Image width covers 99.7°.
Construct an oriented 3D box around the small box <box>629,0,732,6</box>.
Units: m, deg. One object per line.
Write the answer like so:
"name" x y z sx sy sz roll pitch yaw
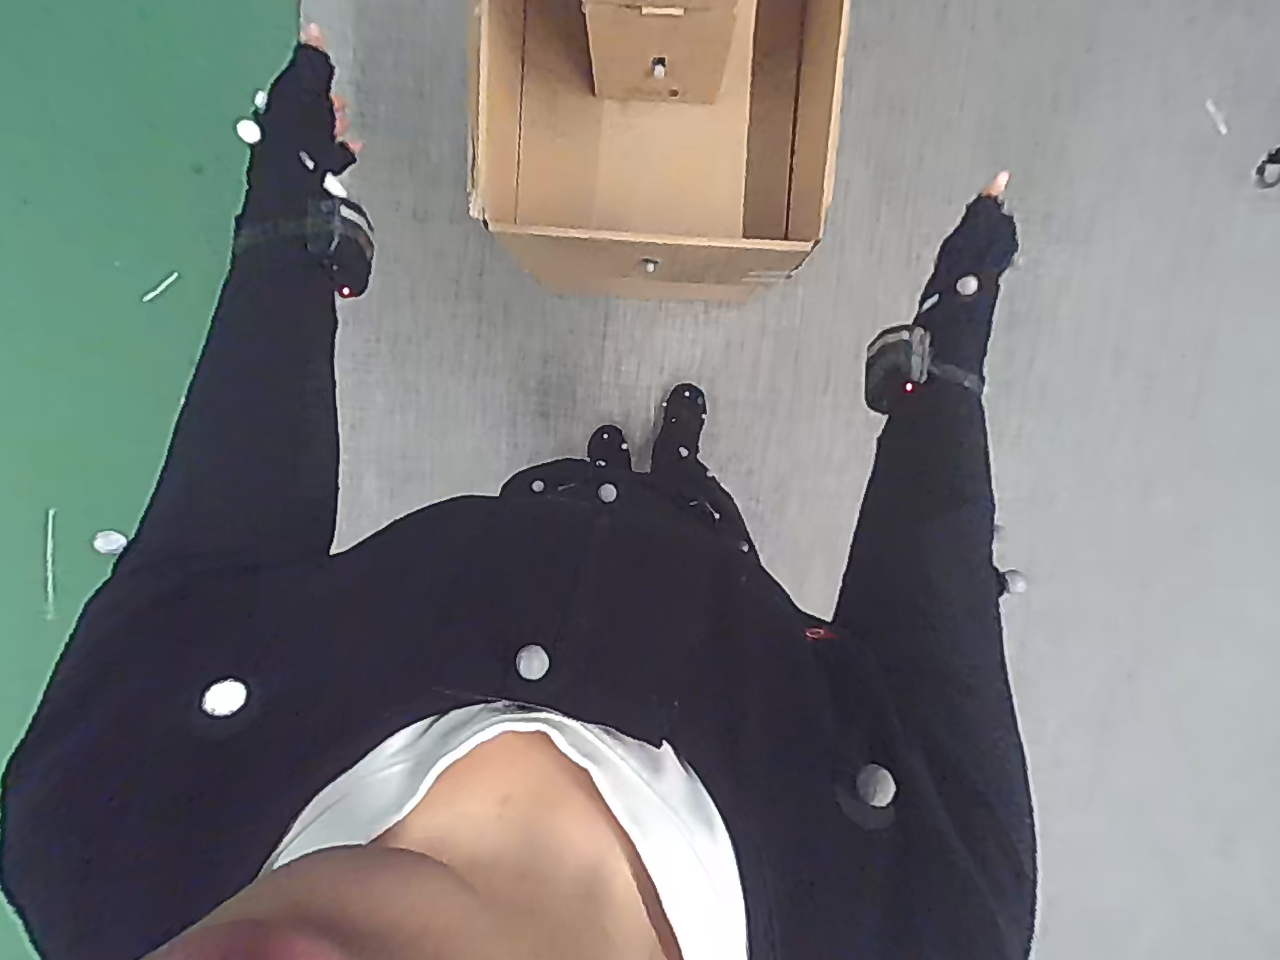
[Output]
"small box" 0.026 -0.573 0.472 0.168 0.176 0.179 1 97 1
